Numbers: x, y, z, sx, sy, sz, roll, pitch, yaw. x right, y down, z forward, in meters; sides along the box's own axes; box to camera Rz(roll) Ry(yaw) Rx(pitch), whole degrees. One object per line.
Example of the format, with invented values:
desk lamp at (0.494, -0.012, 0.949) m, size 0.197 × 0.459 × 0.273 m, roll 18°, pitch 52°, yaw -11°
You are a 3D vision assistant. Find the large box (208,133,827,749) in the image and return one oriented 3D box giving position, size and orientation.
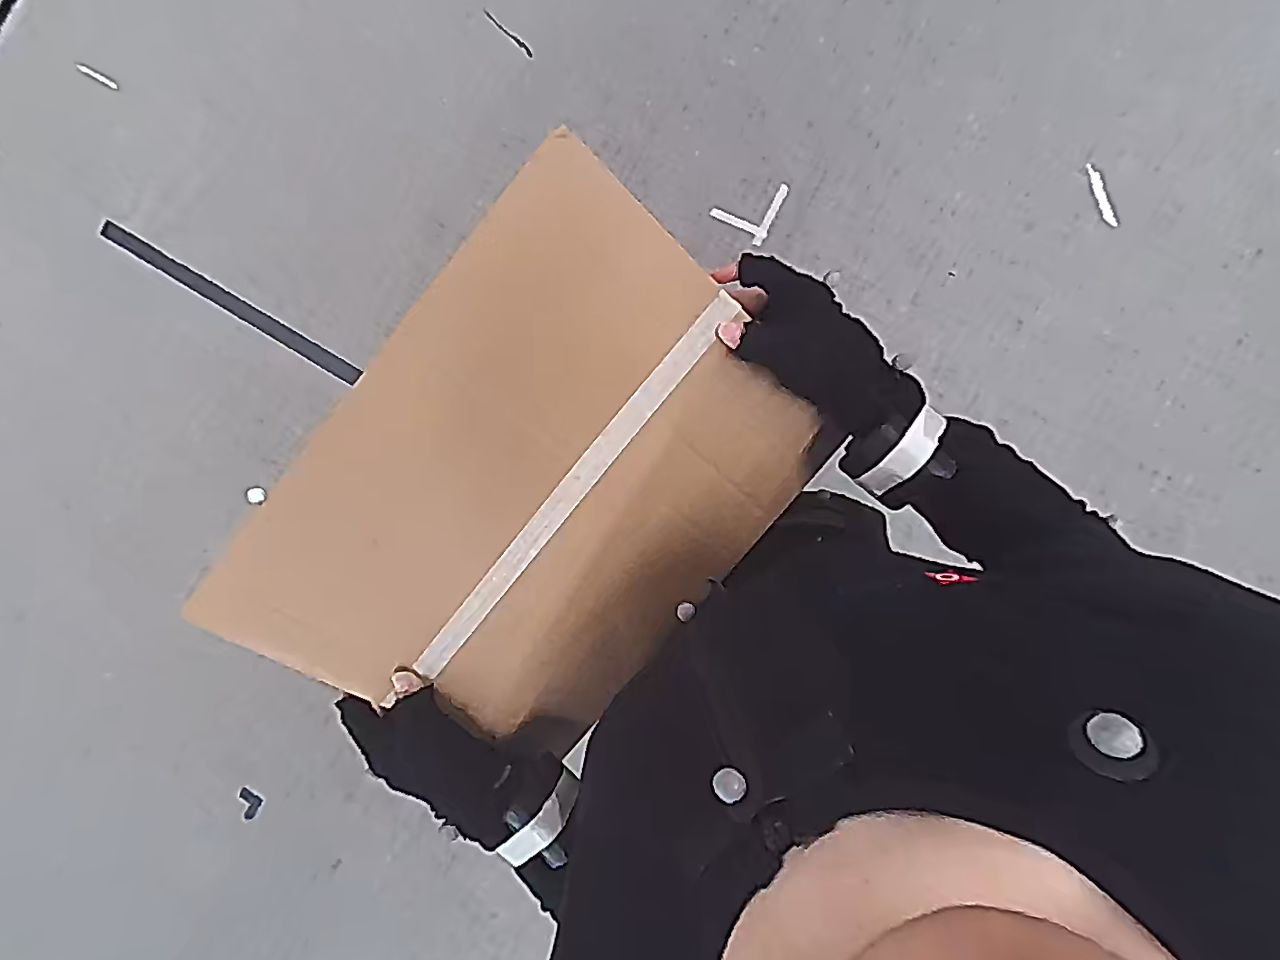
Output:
large box at (-0.110, -0.032, 0.555) m, size 0.320 × 0.320 × 0.408 m, roll 38°, pitch 96°, yaw -24°
